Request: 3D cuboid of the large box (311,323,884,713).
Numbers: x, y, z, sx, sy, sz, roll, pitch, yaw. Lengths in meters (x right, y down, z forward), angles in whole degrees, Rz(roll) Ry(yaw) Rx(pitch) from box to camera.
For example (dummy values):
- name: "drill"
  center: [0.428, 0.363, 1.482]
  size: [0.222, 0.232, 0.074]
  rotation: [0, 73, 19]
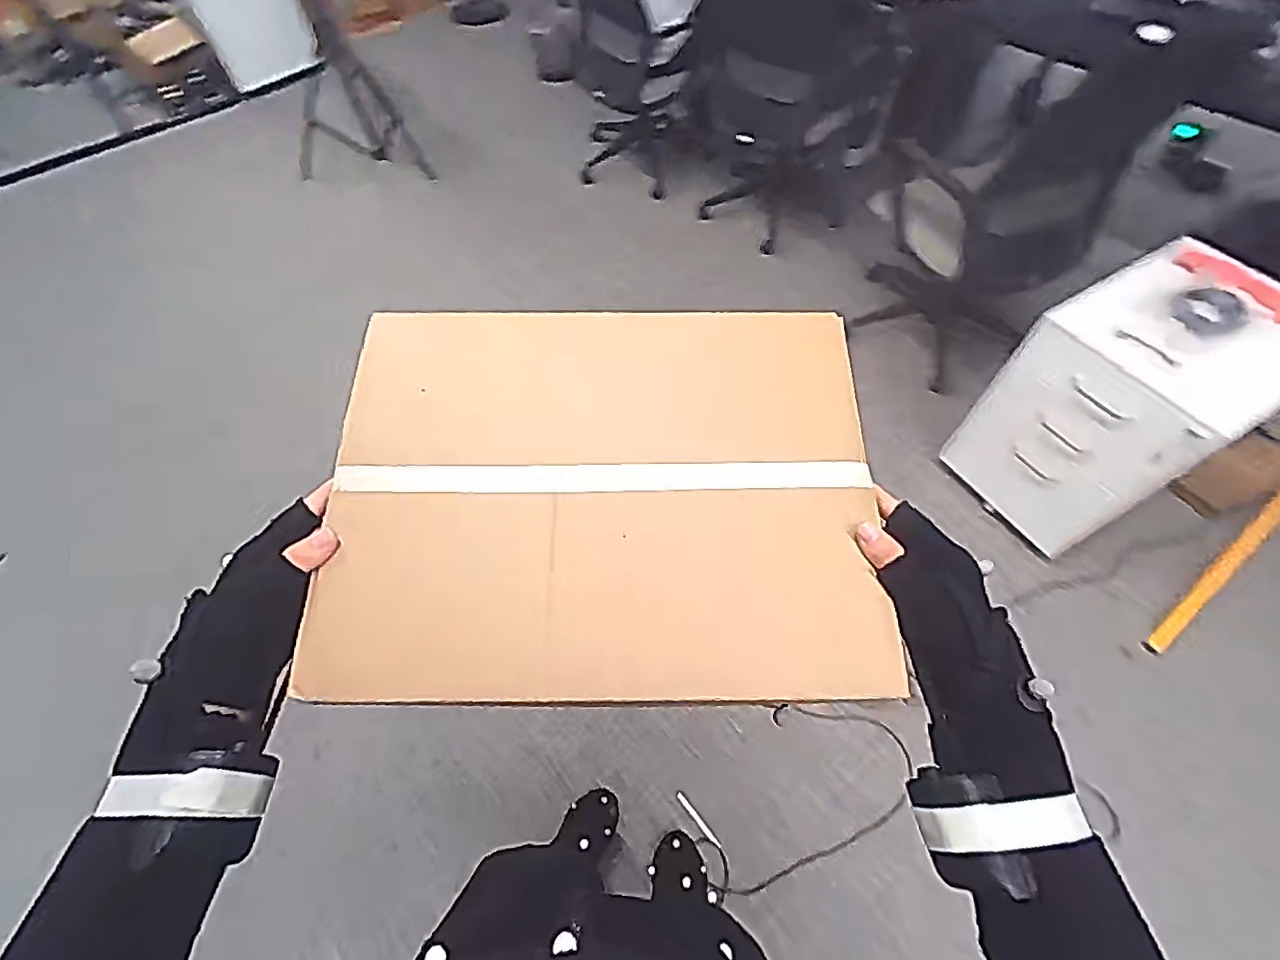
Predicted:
- name: "large box"
  center: [-0.031, 0.063, 0.562]
  size: [0.408, 0.320, 0.320]
  rotation: [-1, 67, 0]
